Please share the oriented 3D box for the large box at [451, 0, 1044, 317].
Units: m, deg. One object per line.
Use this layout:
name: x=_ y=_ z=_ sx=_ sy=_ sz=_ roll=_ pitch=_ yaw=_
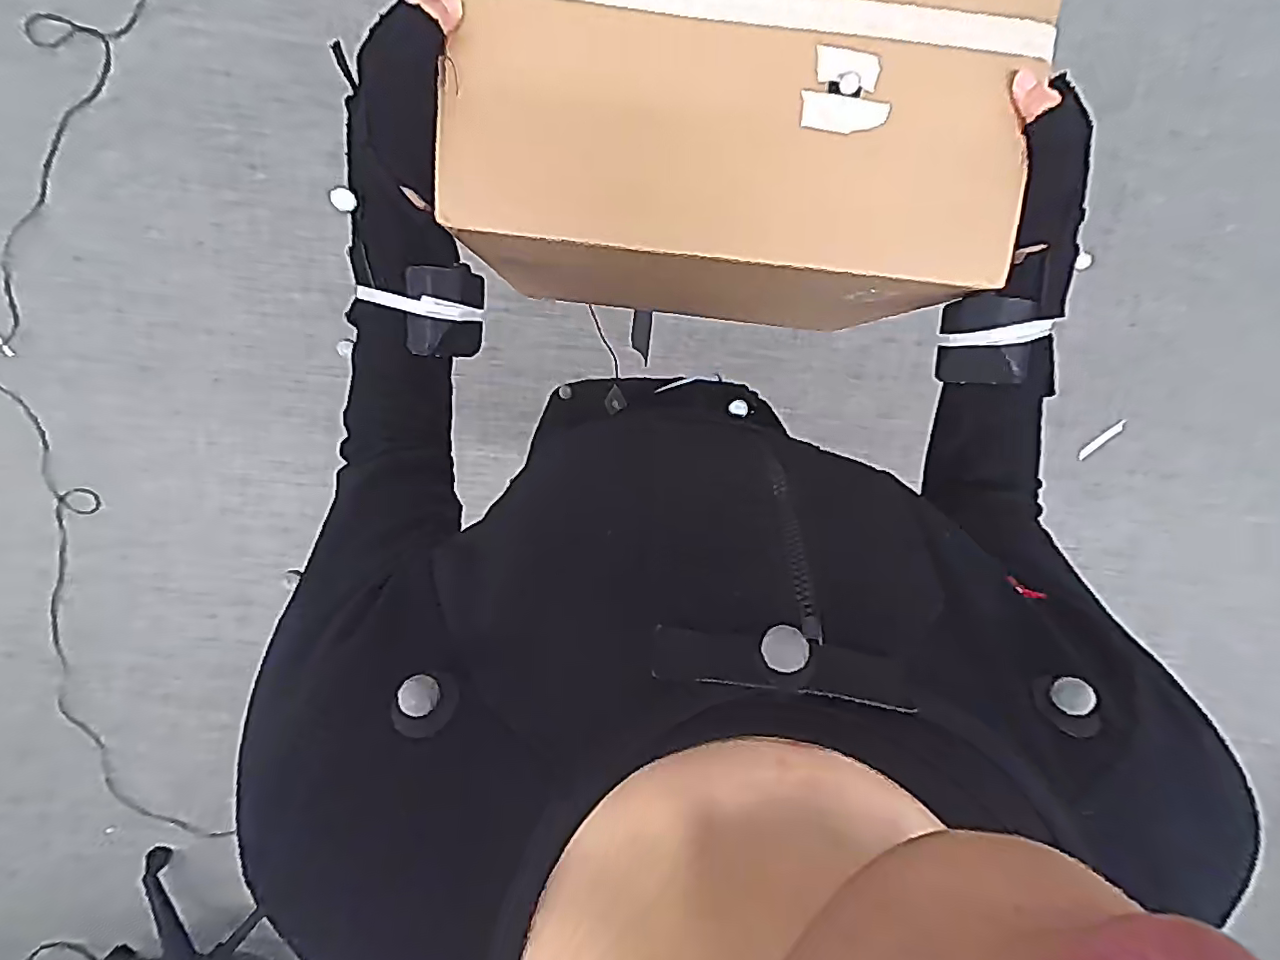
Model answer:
large box: x=0.068 y=-0.345 z=0.510 sx=0.408 sy=0.320 sz=0.320 roll=5 pitch=101 yaw=-4
